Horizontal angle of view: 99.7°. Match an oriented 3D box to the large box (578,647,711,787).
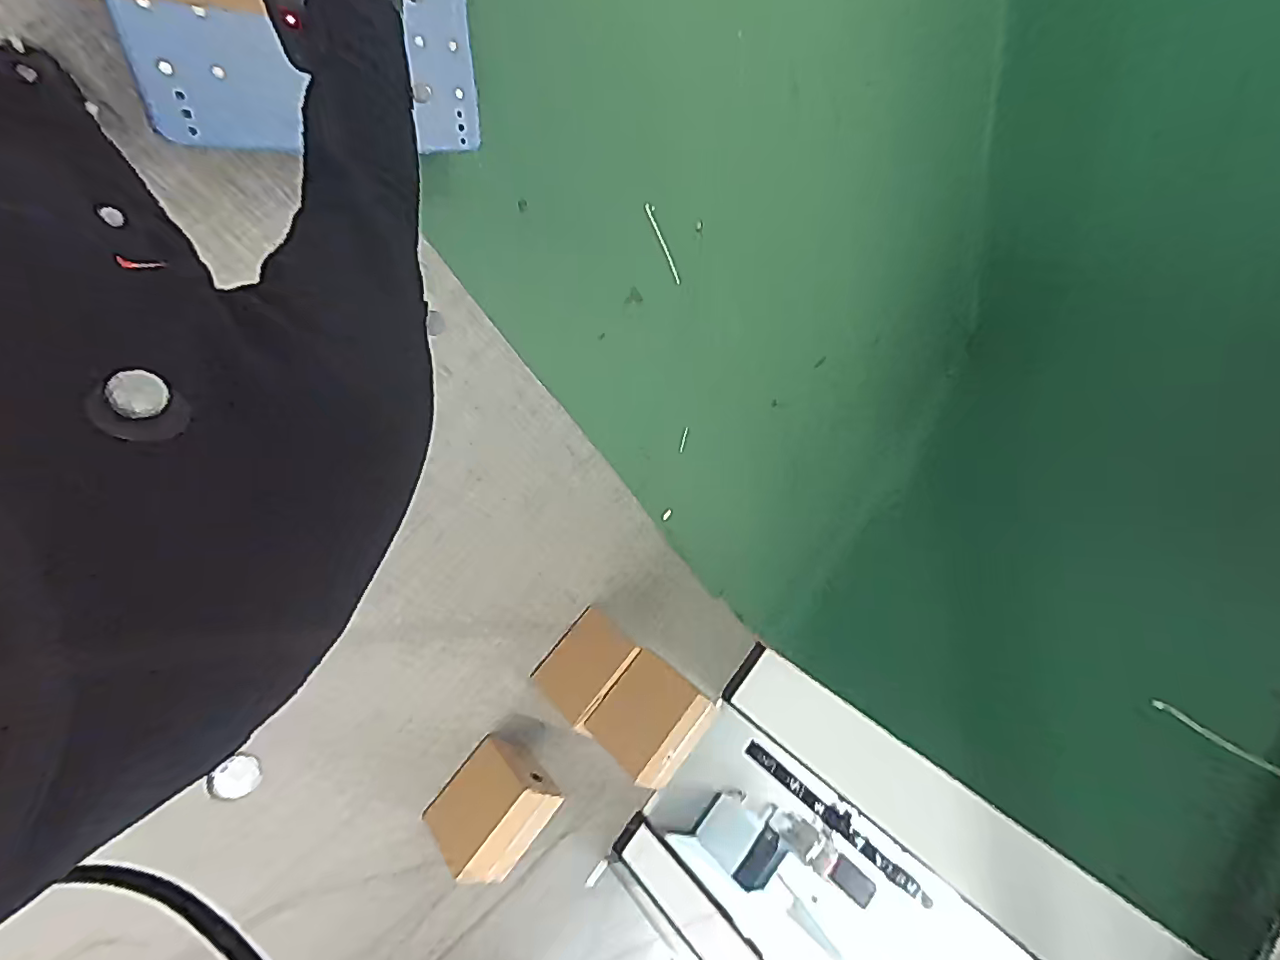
[{"bbox_3d":[0.025,0.966,2.213,0.408,0.320,0.320,-49,143,-12],"label":"large box"}]
